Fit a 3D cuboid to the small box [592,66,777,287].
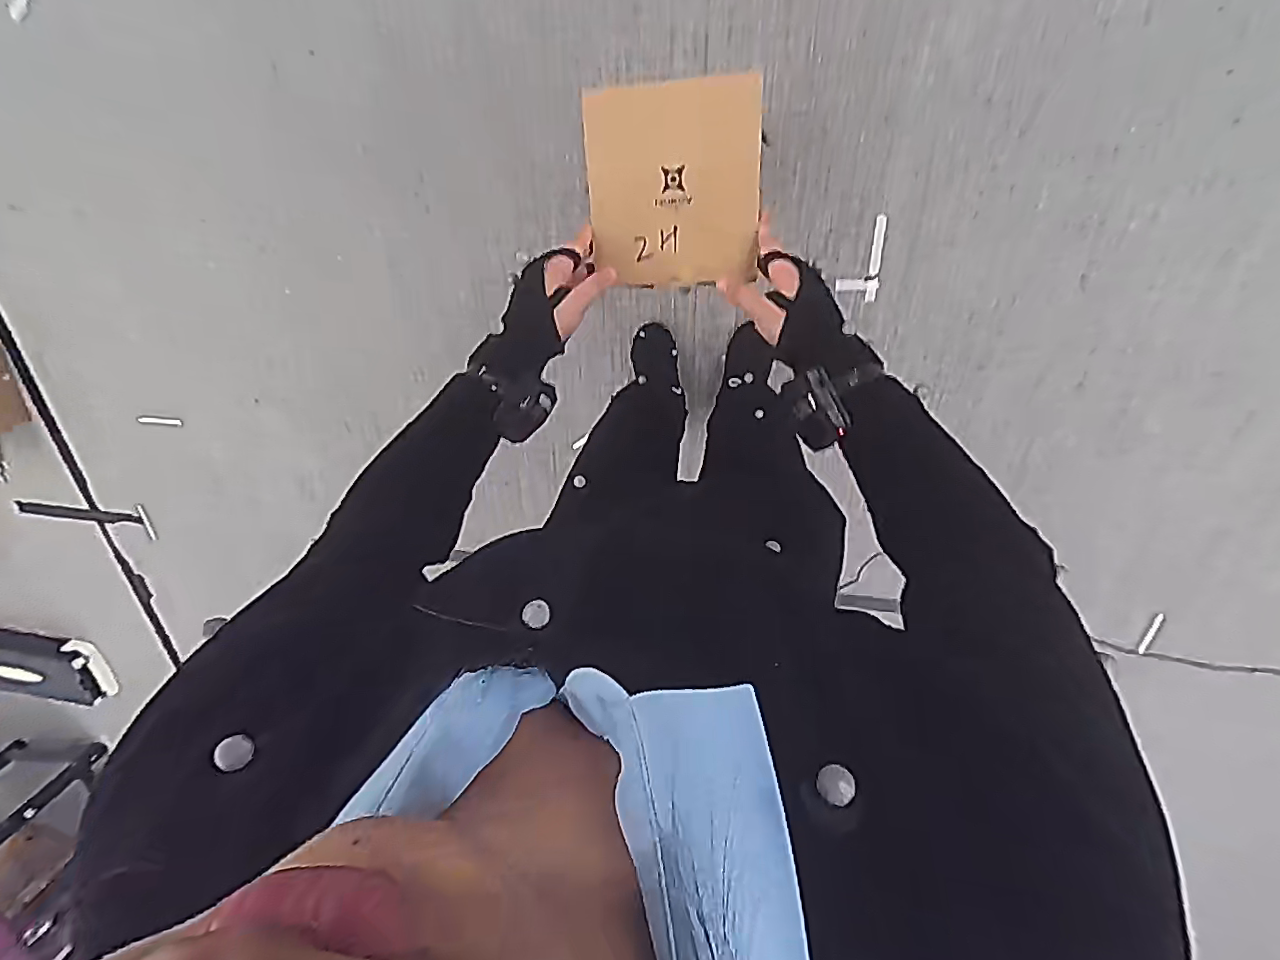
[{"bbox_3d":[0.052,-0.303,0.575,0.168,0.176,0.179,1,113,10],"label":"small box"}]
